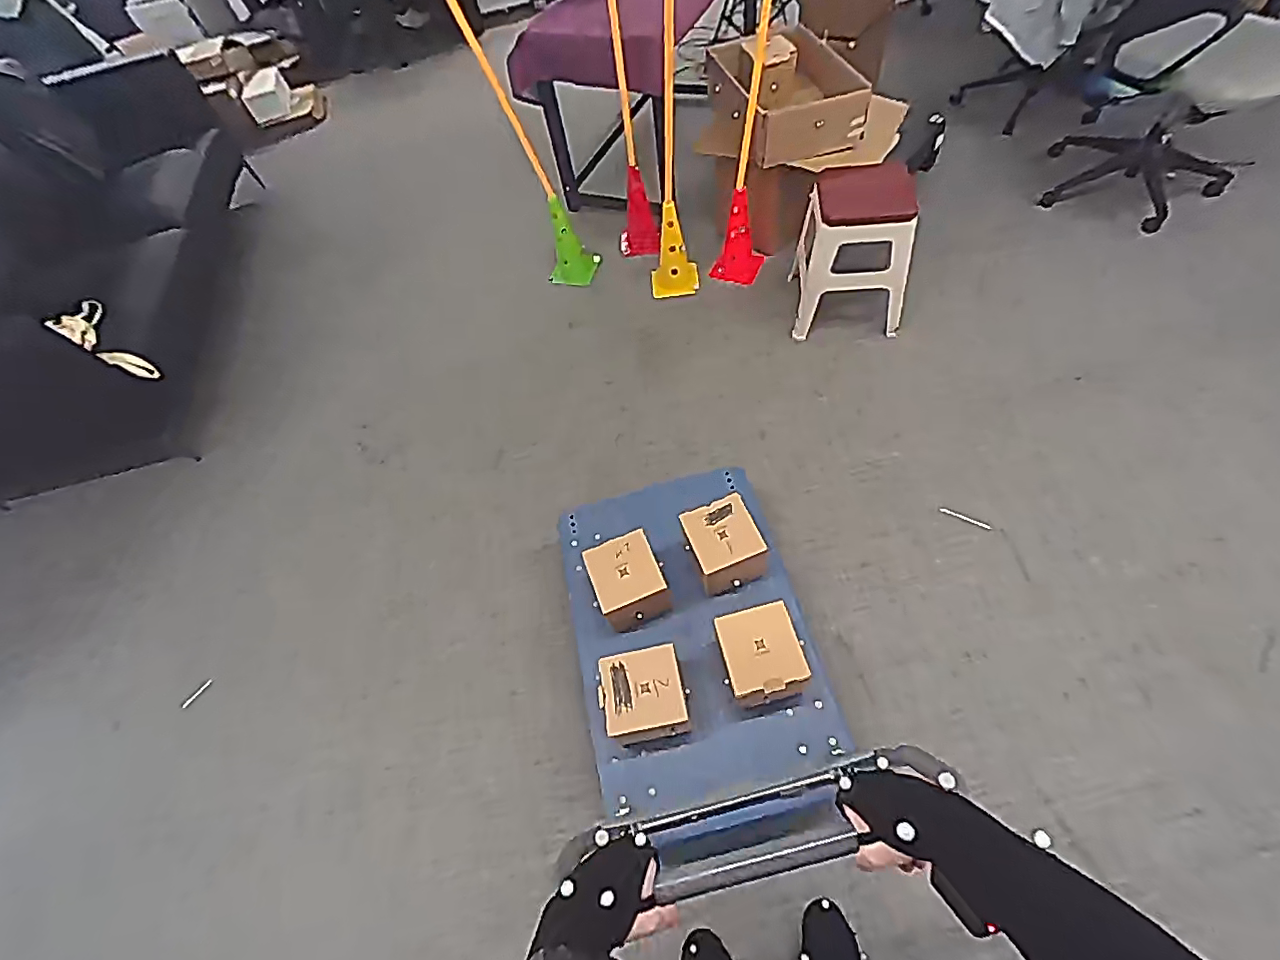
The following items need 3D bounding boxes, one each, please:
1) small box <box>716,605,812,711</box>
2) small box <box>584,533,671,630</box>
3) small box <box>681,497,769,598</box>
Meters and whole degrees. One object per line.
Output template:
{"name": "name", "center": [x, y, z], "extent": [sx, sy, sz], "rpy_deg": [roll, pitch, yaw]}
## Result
{"name": "small box", "center": [0.277, 0.413, 1.246], "extent": [0.168, 0.176, 0.179], "rpy_deg": [-15, 58, 0]}
{"name": "small box", "center": [-0.027, 0.268, 1.384], "extent": [0.168, 0.176, 0.179], "rpy_deg": [-21, 58, -5]}
{"name": "small box", "center": [0.216, 0.179, 1.398], "extent": [0.168, 0.176, 0.179], "rpy_deg": [-21, 59, -3]}
